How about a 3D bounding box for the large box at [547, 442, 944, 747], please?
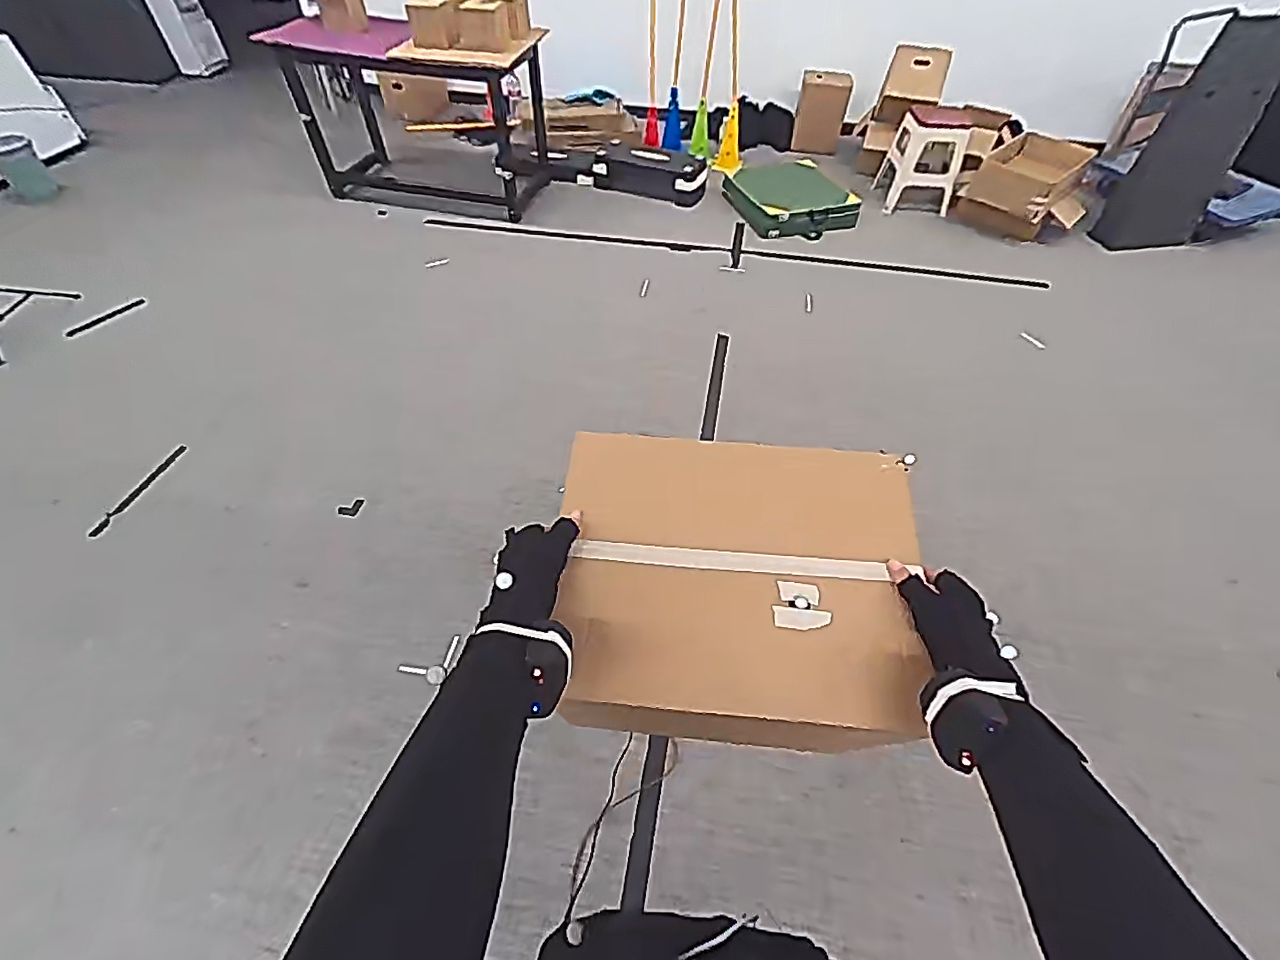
[{"bbox_3d":[0.113,0.169,0.737,0.408,0.320,0.320,5,62,3],"label":"large box"}]
